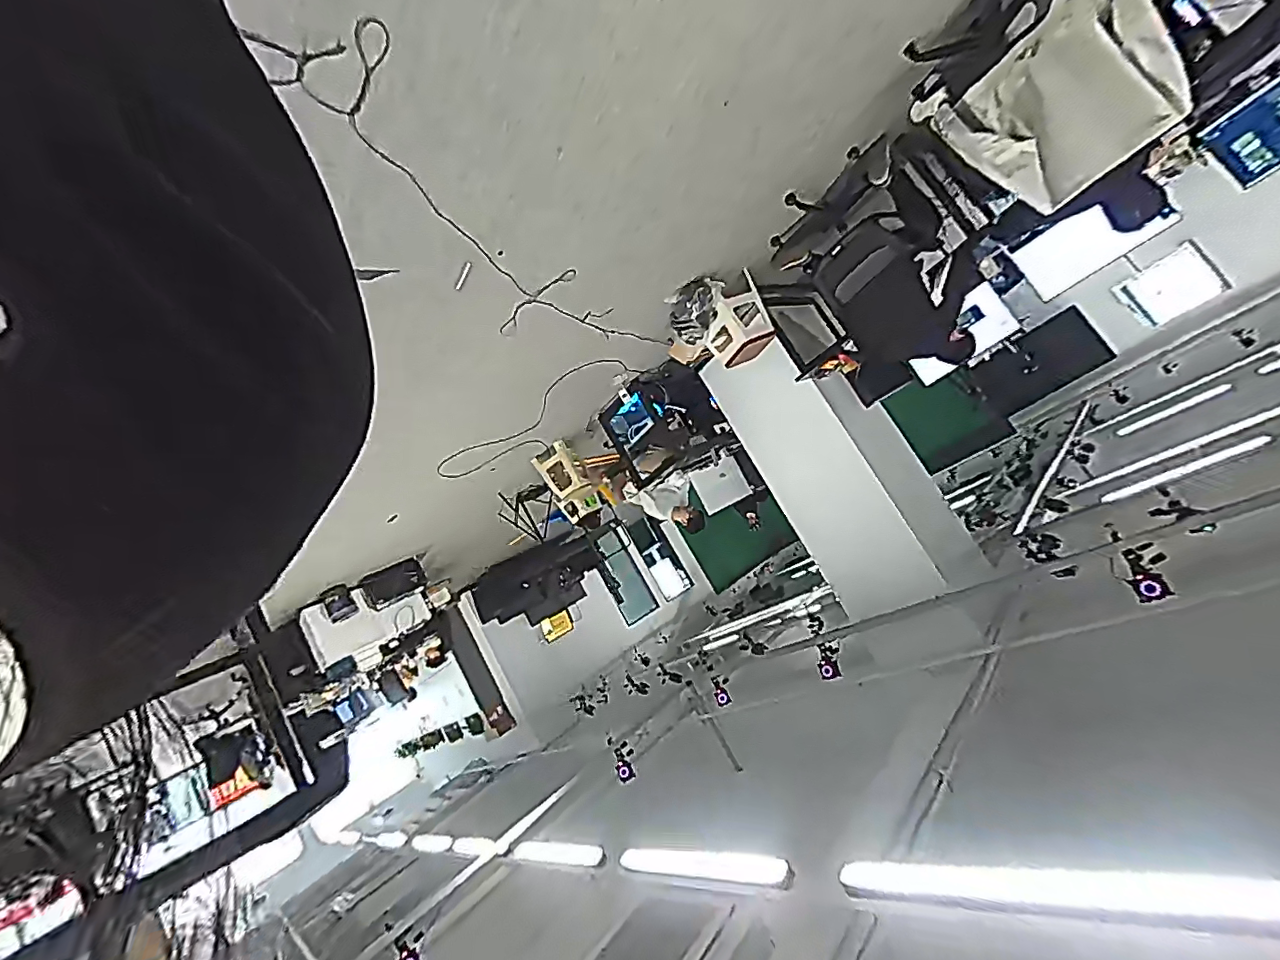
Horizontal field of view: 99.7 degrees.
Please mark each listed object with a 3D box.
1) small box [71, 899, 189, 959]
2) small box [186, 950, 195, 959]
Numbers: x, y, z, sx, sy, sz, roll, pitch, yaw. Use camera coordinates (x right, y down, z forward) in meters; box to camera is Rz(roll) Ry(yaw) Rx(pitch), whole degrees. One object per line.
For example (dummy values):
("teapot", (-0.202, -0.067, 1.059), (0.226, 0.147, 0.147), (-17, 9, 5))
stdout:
("small box", (-1.302, 1.221, 1.390), (0.179, 0.176, 0.168), (-21, 169, -41))
("small box", (-1.228, 1.365, 1.375), (0.179, 0.176, 0.168), (-24, 172, -37))
